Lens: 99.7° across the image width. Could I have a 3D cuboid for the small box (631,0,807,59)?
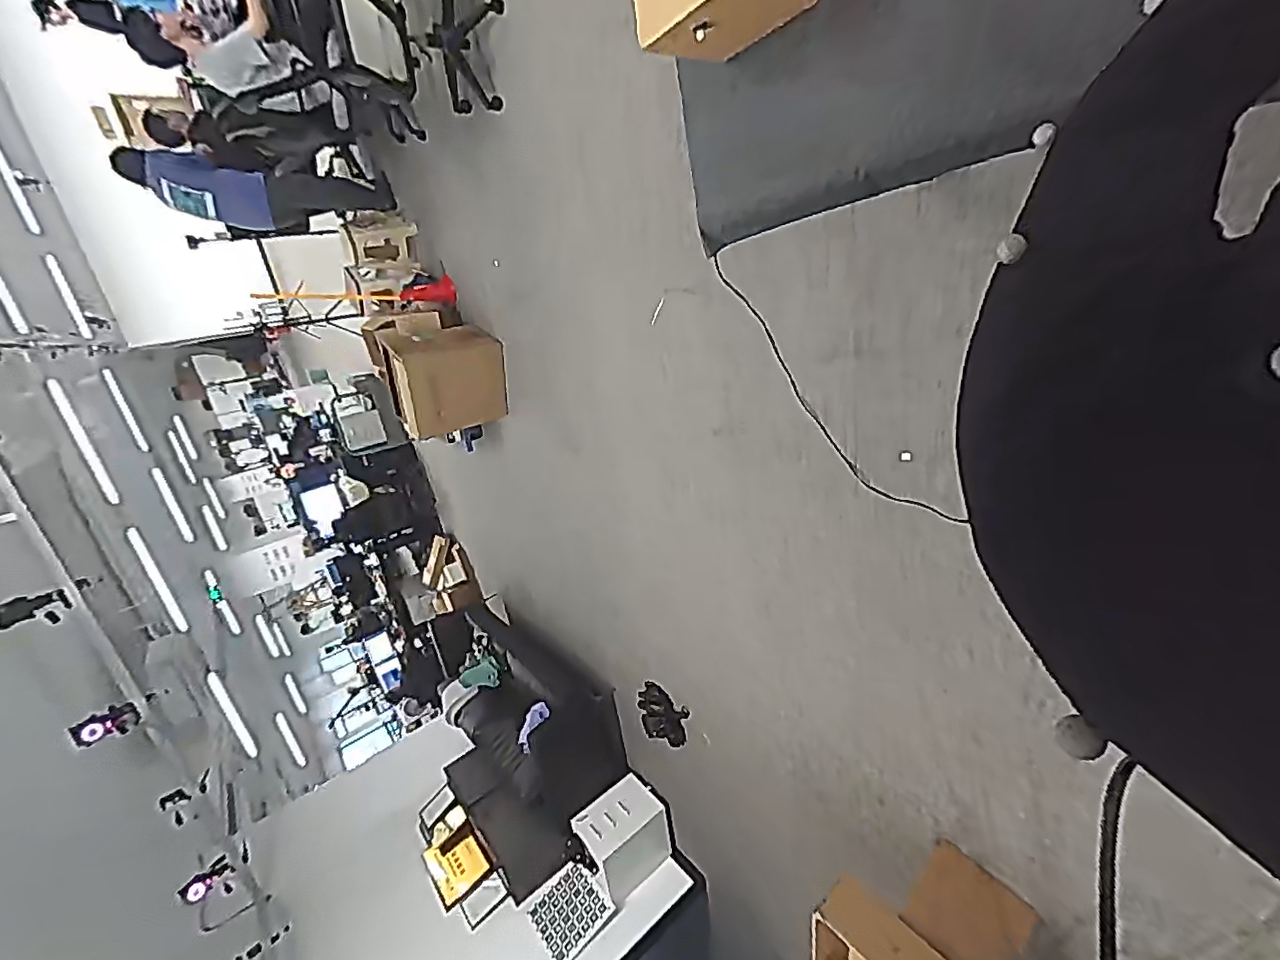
[{"bbox_3d":[0.098,-0.676,0.694,0.179,0.176,0.168,11,119,50],"label":"small box"}]
